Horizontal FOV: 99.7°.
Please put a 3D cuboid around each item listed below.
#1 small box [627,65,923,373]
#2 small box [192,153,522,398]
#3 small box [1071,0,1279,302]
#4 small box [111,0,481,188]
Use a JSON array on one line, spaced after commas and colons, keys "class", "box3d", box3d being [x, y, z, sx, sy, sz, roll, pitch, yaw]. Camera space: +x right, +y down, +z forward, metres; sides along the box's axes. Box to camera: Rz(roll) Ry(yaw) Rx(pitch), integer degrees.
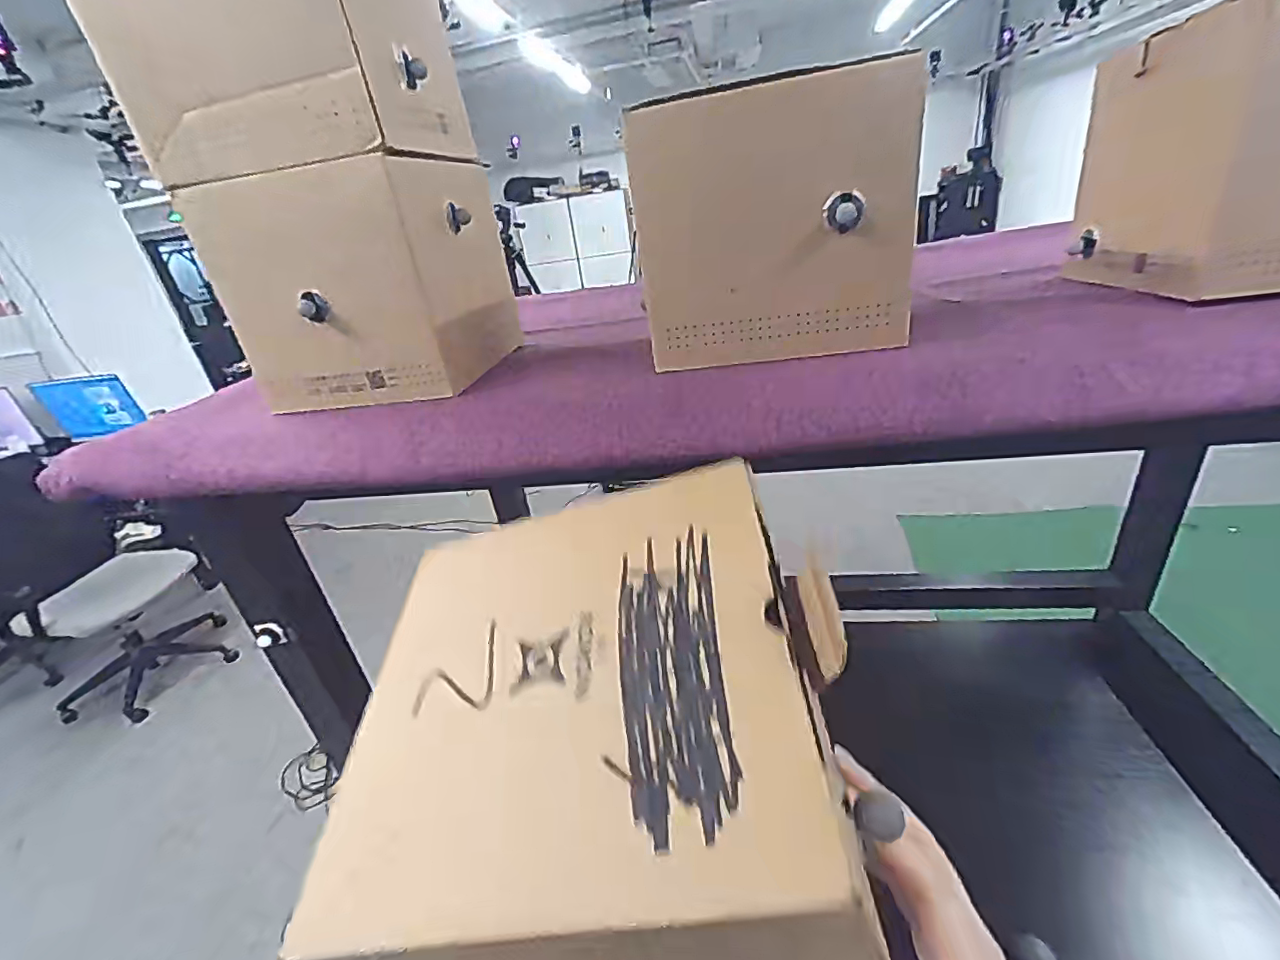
[{"class": "small box", "box3d": [0.098, -0.193, 0.426, 0.179, 0.176, 0.168, -5, 26, 10]}, {"class": "small box", "box3d": [-0.218, -0.174, 0.478, 0.168, 0.176, 0.179, -3, 27, 9]}, {"class": "small box", "box3d": [0.443, -0.226, 0.379, 0.179, 0.176, 0.168, -3, 24, 12]}, {"class": "small box", "box3d": [-0.245, -0.317, 0.405, 0.179, 0.176, 0.168, -4, 27, 8]}]
